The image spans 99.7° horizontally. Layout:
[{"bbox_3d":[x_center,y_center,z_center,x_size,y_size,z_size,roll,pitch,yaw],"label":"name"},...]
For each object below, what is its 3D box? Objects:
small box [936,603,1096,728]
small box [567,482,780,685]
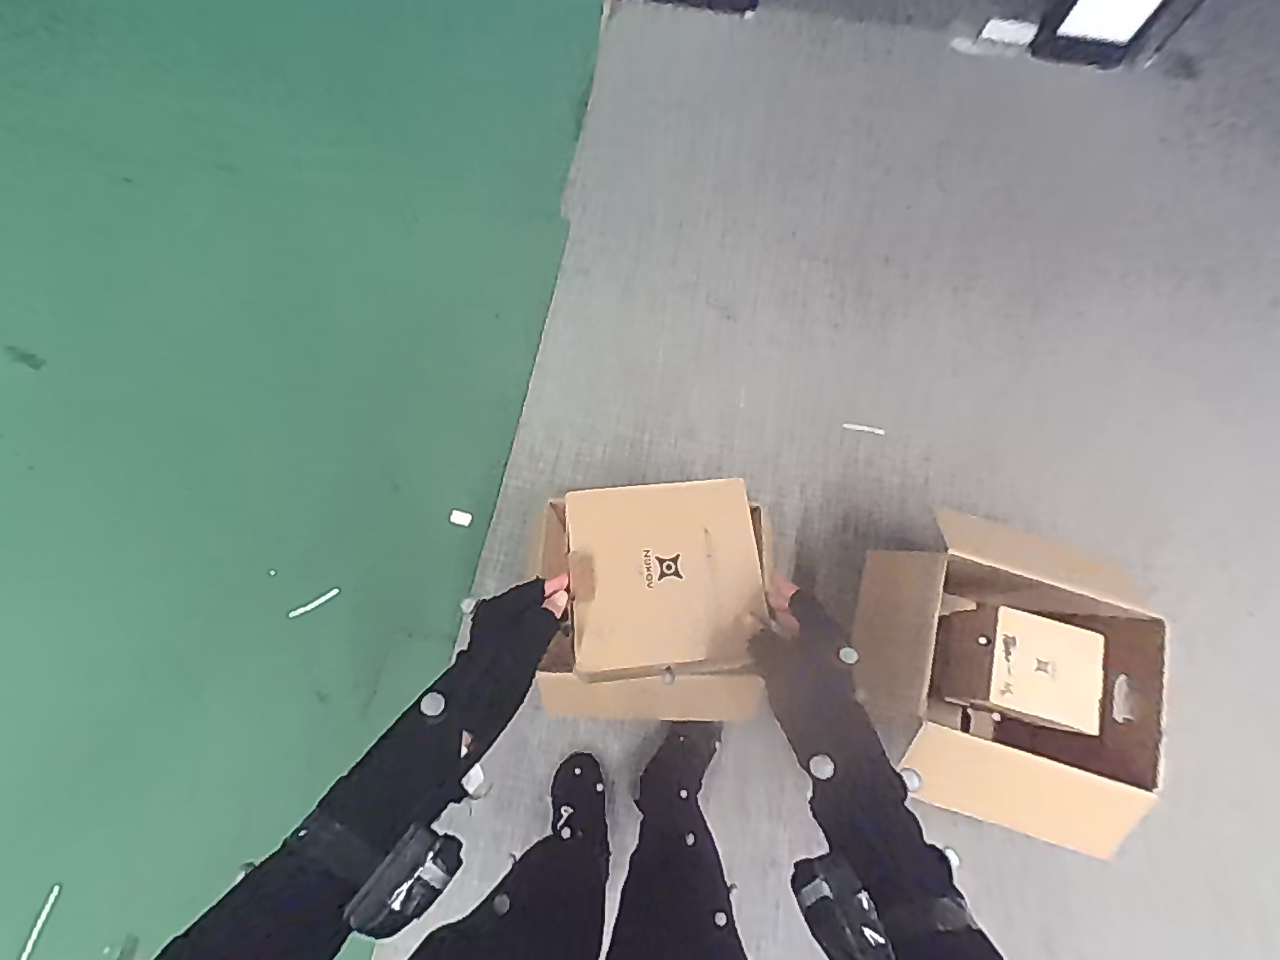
[{"bbox_3d":[0.682,0.336,0.993,0.179,0.176,0.168,16,72,5],"label":"small box"},{"bbox_3d":[0.023,0.114,0.559,0.179,0.176,0.168,-5,68,-6],"label":"small box"}]
